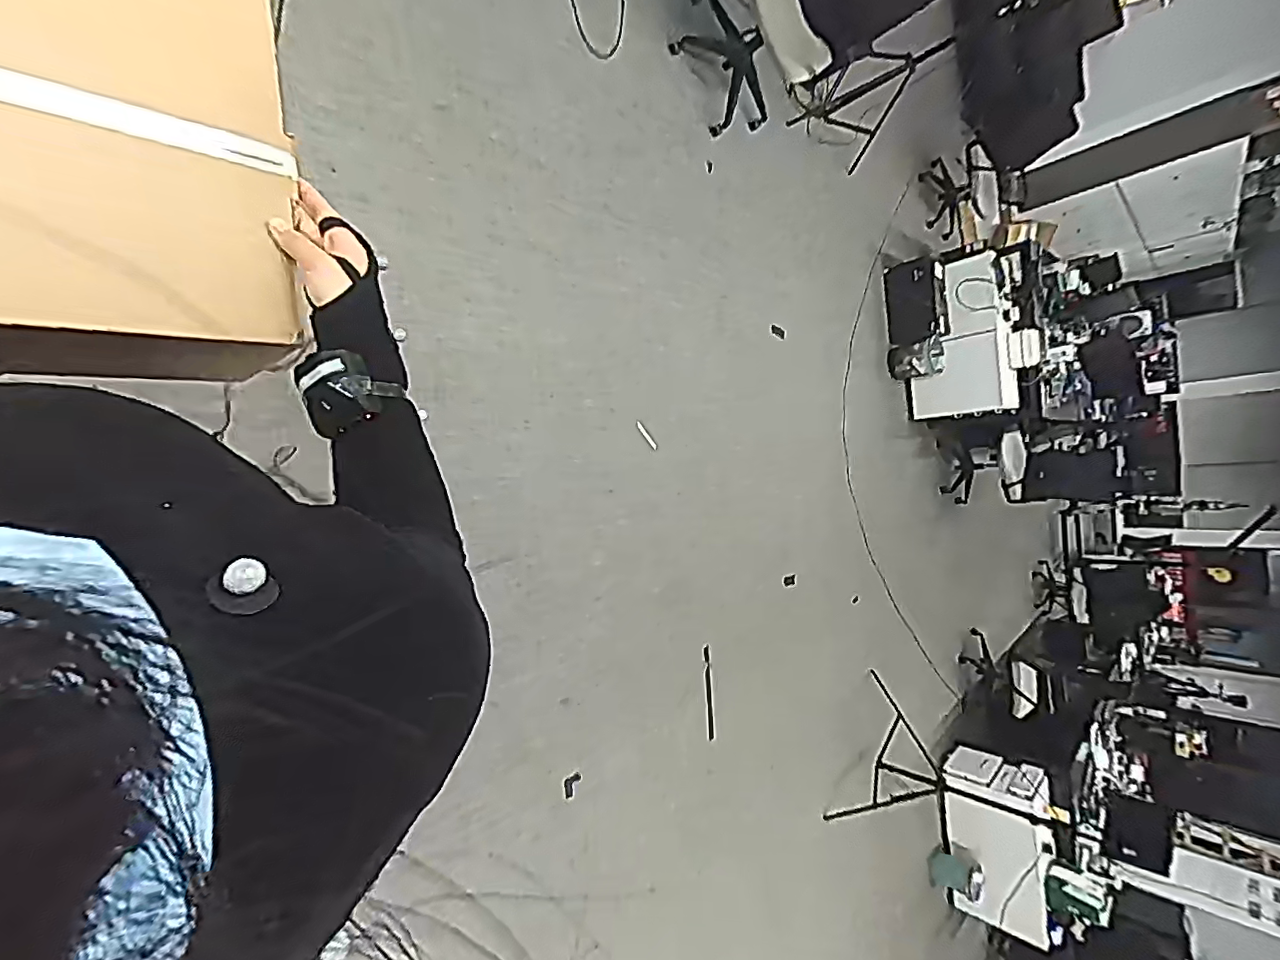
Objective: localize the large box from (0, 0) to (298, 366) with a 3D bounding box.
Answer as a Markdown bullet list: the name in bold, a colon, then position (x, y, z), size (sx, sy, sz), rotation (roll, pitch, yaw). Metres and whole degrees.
- **large box**: position (-0.569, -0.272, 0.456), size (0.408, 0.320, 0.320), rotation (-8, 96, -44)
